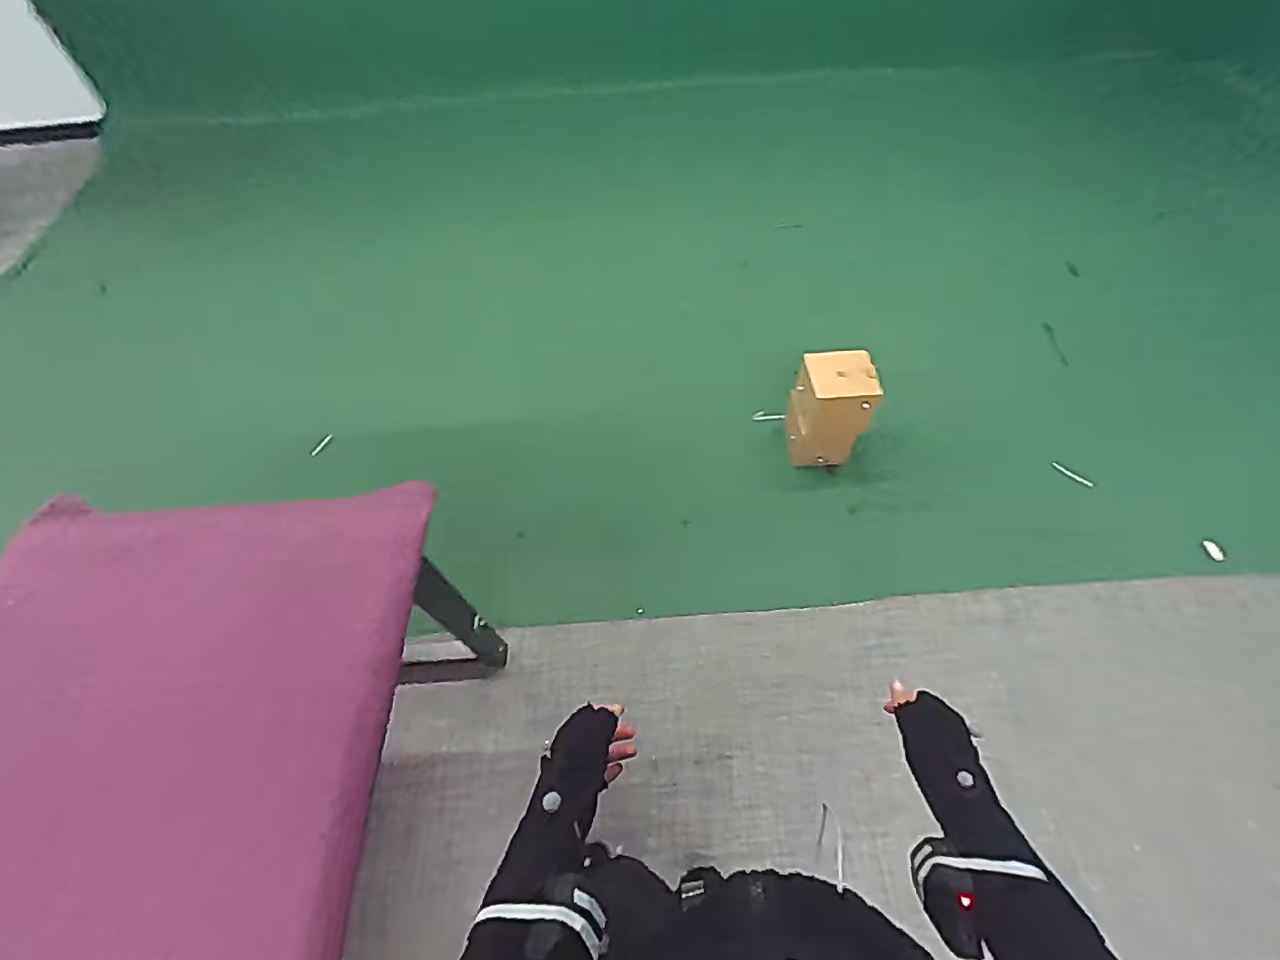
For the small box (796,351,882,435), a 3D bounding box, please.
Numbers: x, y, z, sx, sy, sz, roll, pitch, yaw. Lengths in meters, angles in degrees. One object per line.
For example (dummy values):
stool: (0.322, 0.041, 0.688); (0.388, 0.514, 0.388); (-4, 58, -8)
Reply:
small box: (0.553, -0.242, 1.537); (0.179, 0.176, 0.168); (-4, 58, 0)
